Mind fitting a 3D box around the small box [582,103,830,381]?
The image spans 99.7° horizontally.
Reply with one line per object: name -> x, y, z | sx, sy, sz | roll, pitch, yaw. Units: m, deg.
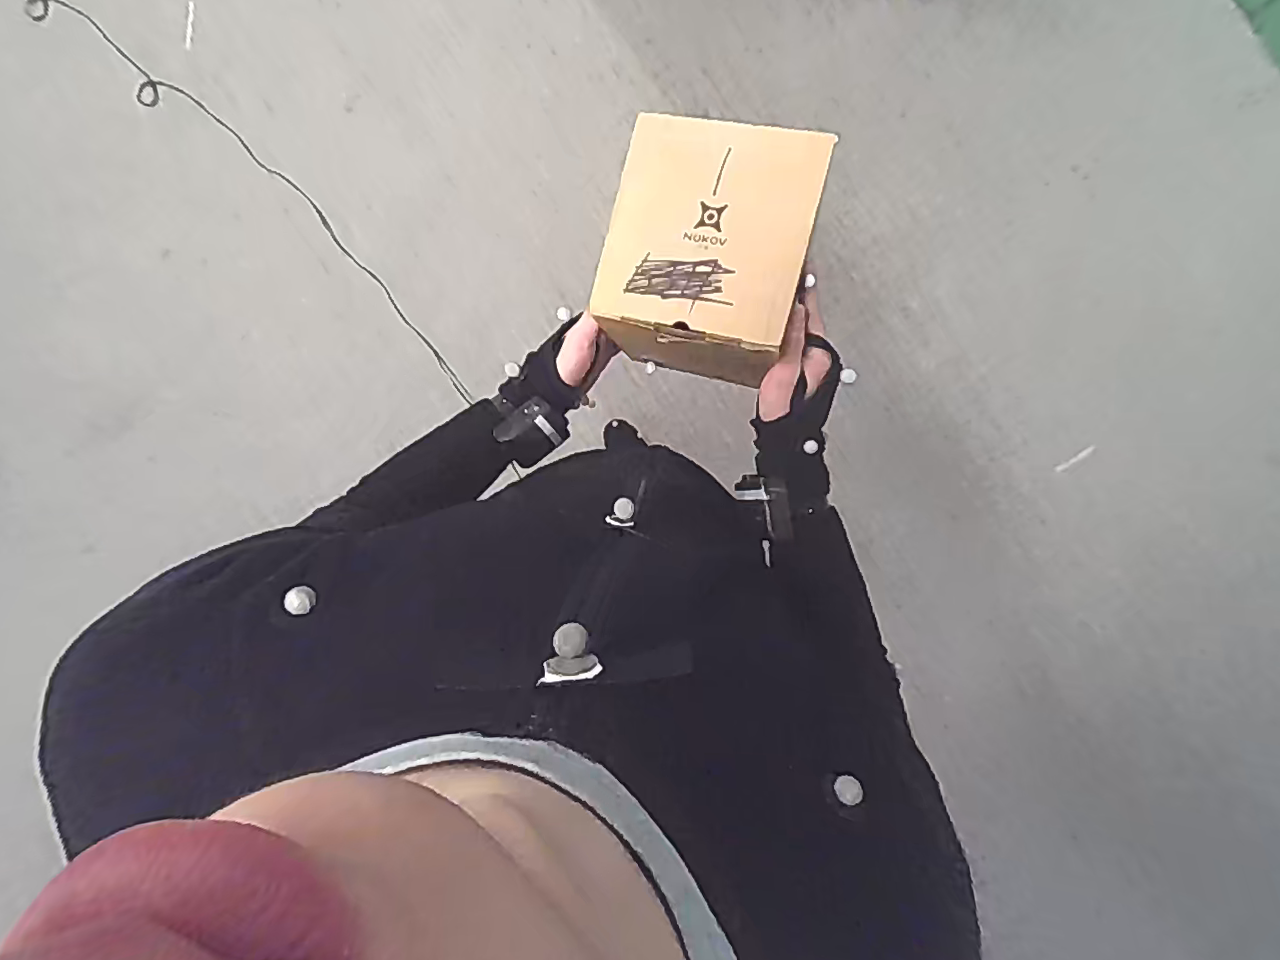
small box -> 0.066, -0.205, 0.509 | 0.168, 0.176, 0.179 | 15, 91, 12
